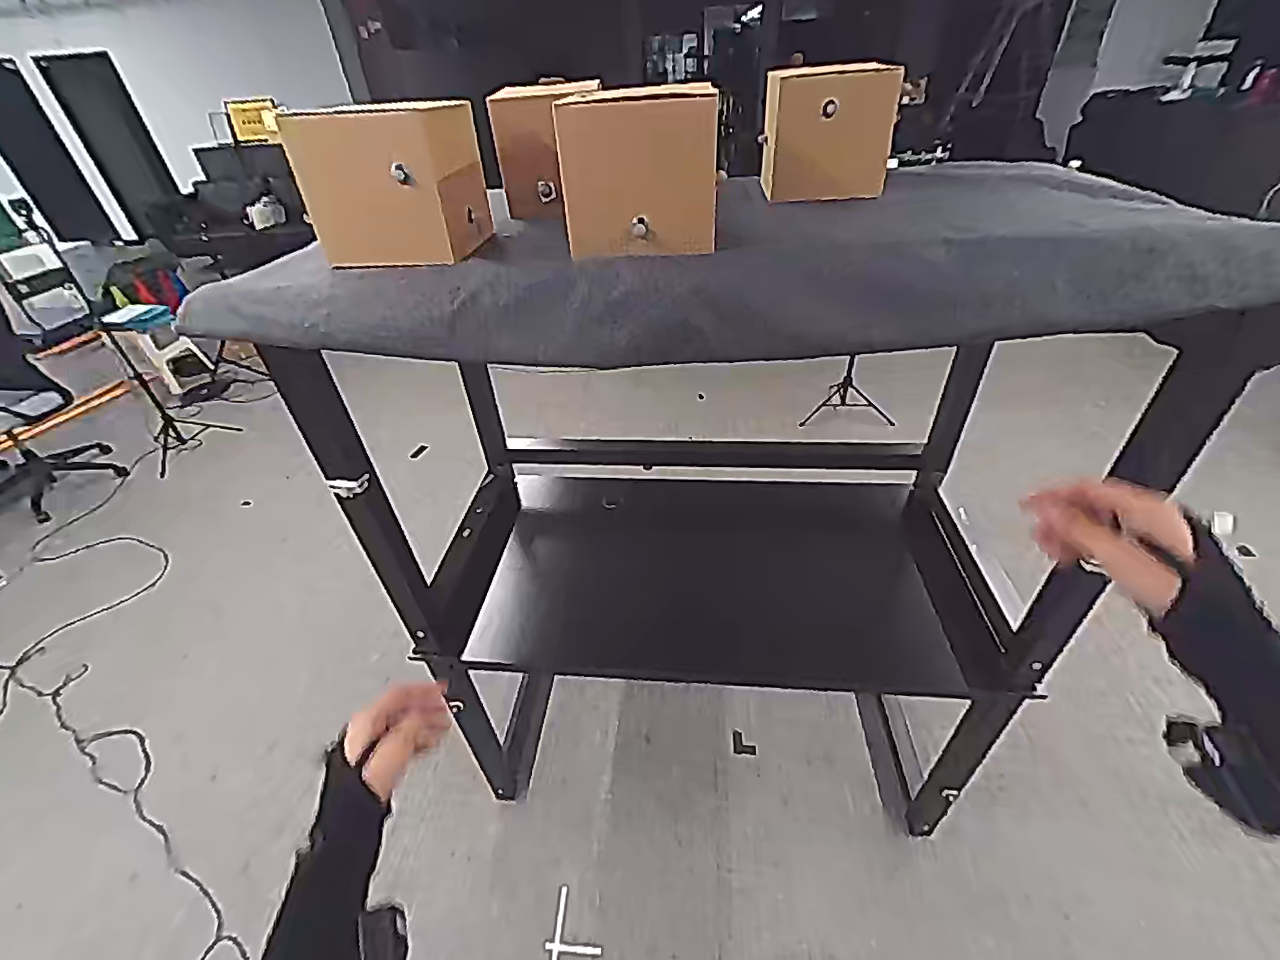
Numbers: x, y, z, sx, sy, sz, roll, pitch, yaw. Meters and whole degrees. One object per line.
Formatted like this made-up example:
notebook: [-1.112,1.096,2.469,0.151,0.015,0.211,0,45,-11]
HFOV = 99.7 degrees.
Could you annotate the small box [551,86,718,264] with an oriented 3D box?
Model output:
small box: [0.002,-0.378,0.673,0.179,0.176,0.168,1,38,6]

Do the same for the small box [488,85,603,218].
small box: [-0.138,-0.548,0.902,0.168,0.176,0.179,-4,38,2]

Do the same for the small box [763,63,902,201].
small box: [0.294,-0.558,0.870,0.179,0.176,0.168,1,39,7]
